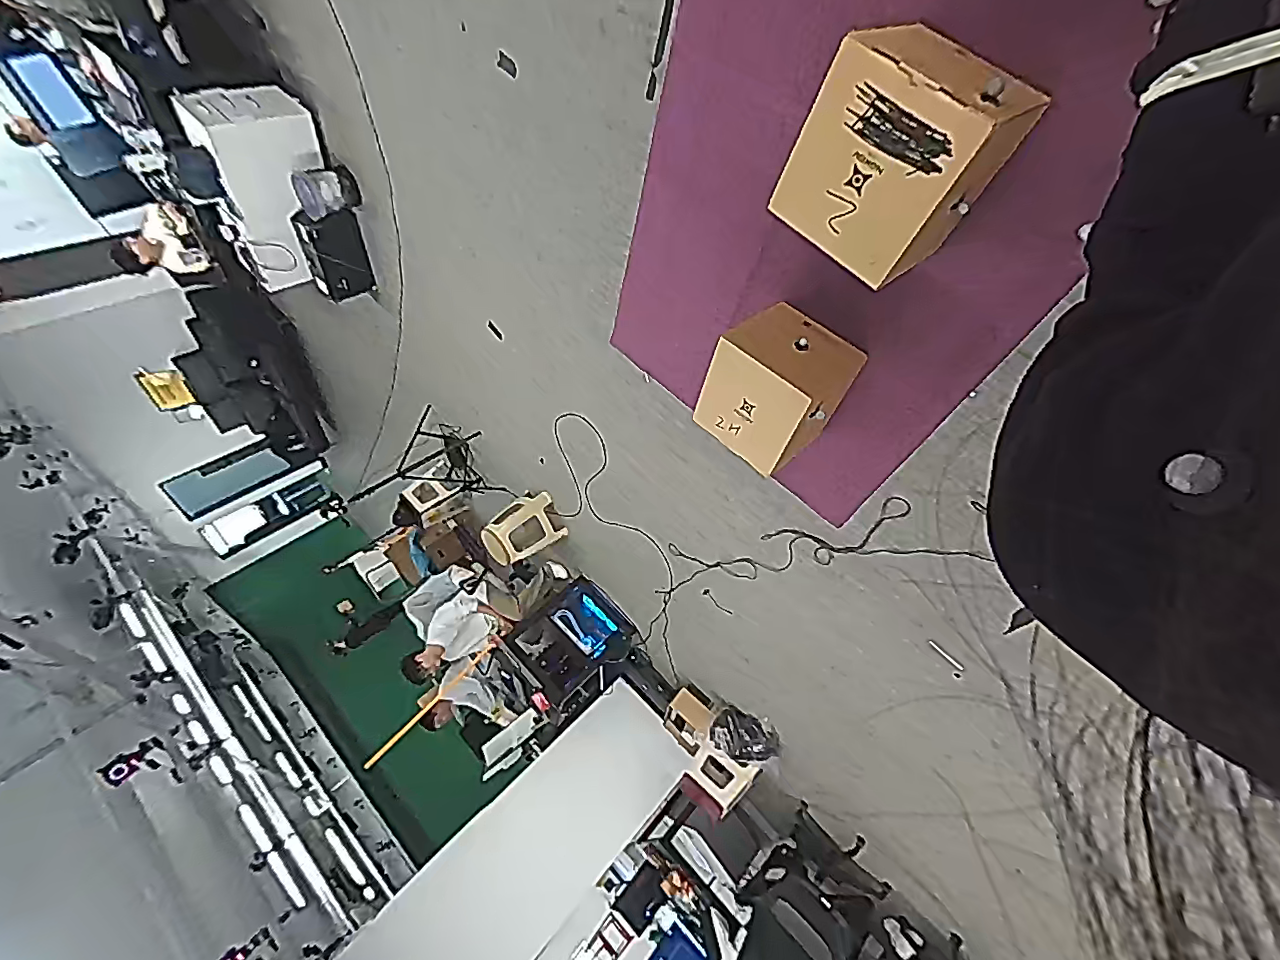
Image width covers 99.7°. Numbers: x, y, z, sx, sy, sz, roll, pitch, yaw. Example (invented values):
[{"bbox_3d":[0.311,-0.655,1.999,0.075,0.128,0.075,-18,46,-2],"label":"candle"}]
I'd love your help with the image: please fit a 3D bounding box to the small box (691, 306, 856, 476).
[{"bbox_3d":[0.213,-0.146,0.858,0.168,0.176,0.179,42,146,20],"label":"small box"}]
